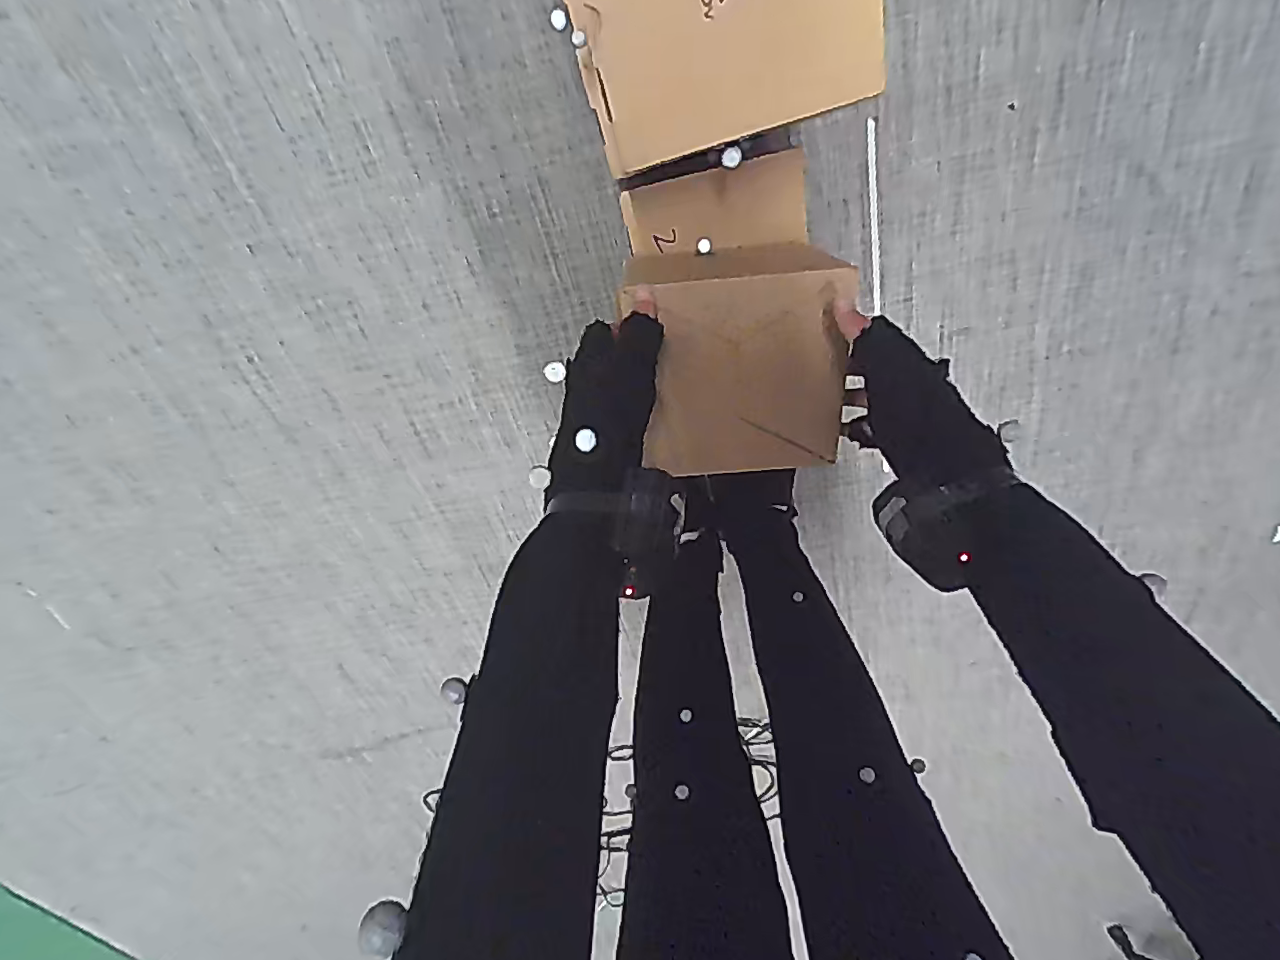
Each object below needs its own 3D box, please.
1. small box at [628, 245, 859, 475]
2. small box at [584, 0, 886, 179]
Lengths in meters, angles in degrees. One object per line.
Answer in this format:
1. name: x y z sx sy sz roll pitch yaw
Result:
1. small box: 0.083 -0.116 0.506 0.179 0.176 0.168 -4 120 3
2. small box: 0.054 -0.332 0.387 0.179 0.176 0.168 -13 119 8
